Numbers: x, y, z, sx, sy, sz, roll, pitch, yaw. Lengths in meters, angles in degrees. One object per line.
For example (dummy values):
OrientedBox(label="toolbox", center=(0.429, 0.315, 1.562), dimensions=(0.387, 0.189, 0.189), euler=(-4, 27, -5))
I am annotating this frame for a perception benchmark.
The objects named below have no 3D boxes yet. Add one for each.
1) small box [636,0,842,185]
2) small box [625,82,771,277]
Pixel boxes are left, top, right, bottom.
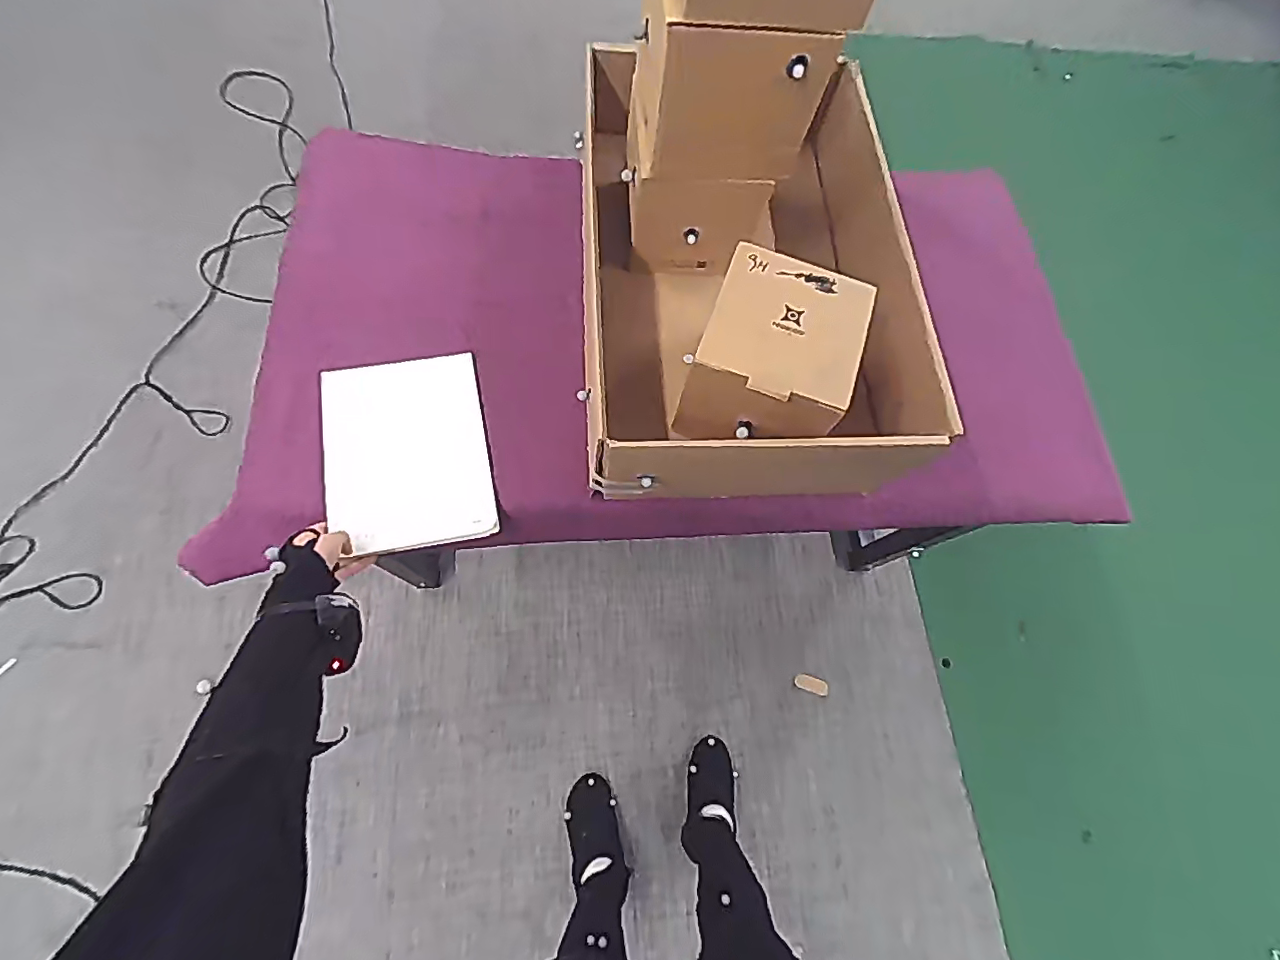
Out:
OrientedBox(label="small box", center=(0.090, -0.455, 0.597), dimensions=(0.179, 0.176, 0.168), euler=(-3, 71, -8))
OrientedBox(label="small box", center=(0.068, -0.404, 0.749), dimensions=(0.168, 0.176, 0.179), euler=(-1, 71, -7))
